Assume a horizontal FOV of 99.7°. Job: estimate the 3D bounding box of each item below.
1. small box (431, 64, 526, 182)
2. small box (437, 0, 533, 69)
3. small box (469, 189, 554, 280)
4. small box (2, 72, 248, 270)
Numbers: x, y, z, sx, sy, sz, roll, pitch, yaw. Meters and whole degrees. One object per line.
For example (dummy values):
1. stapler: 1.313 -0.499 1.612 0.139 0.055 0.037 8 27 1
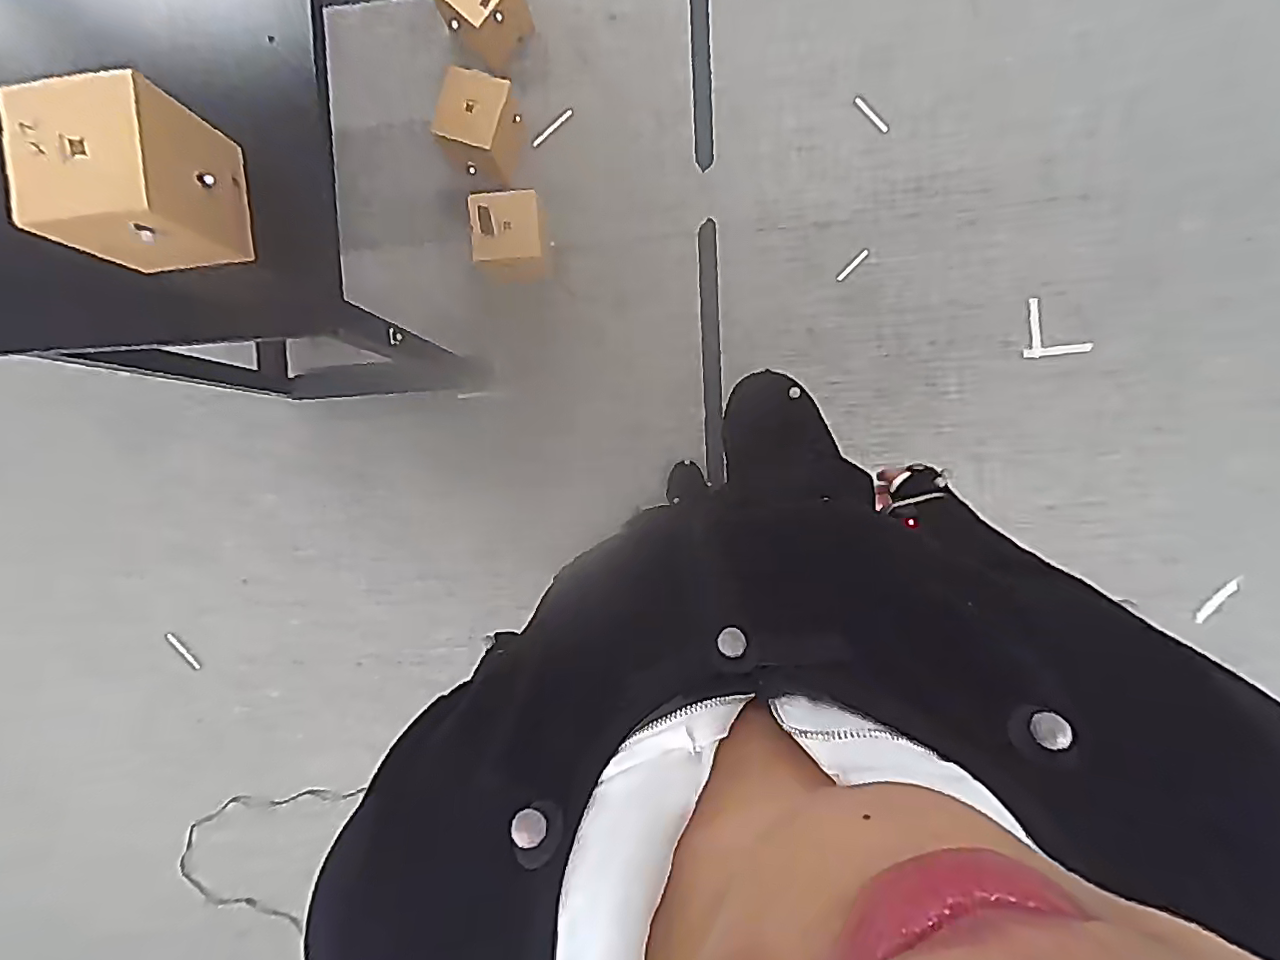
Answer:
1. small box: -0.415 -0.929 1.420 0.168 0.176 0.179 18 95 3
2. small box: -0.408 -1.231 1.403 0.179 0.176 0.168 41 94 1
3. small box: -0.333 -0.638 1.427 0.179 0.176 0.168 -4 93 2
4. small box: -0.666 -0.397 0.725 0.179 0.176 0.168 -5 91 4
